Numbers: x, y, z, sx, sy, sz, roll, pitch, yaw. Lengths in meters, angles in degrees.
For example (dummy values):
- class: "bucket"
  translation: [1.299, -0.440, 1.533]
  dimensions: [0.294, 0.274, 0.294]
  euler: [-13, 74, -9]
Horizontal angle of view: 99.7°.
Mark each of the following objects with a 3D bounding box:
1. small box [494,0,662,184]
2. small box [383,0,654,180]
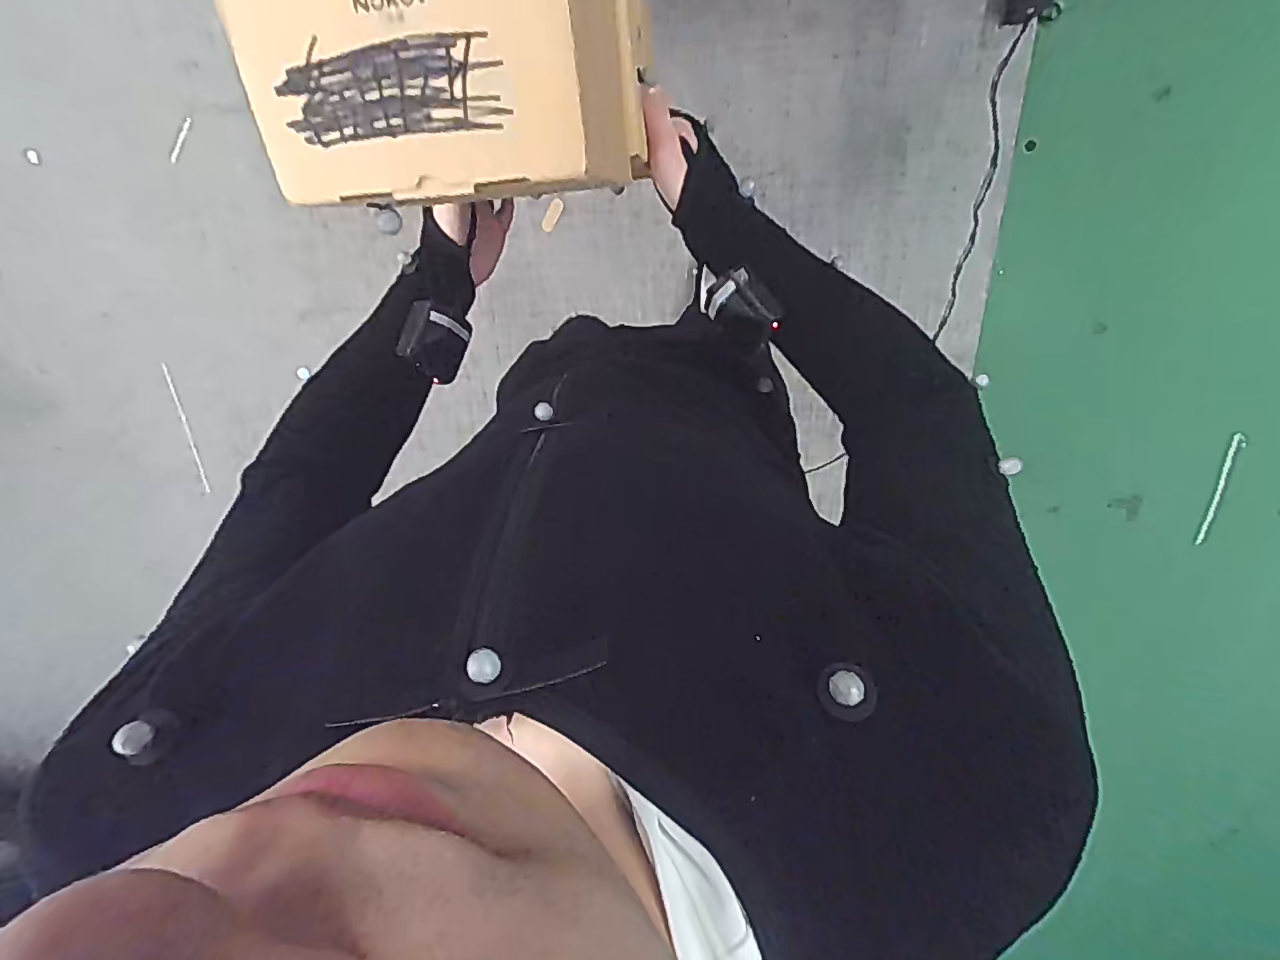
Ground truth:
- class: "small box"
  translation: [-0.068, -0.425, 0.589]
  dimensions: [0.179, 0.176, 0.168]
  euler: [-3, 117, 8]
- class: "small box"
  translation: [-0.082, -0.351, 0.445]
  dimensions: [0.179, 0.176, 0.168]
  euler: [-3, 118, 9]
